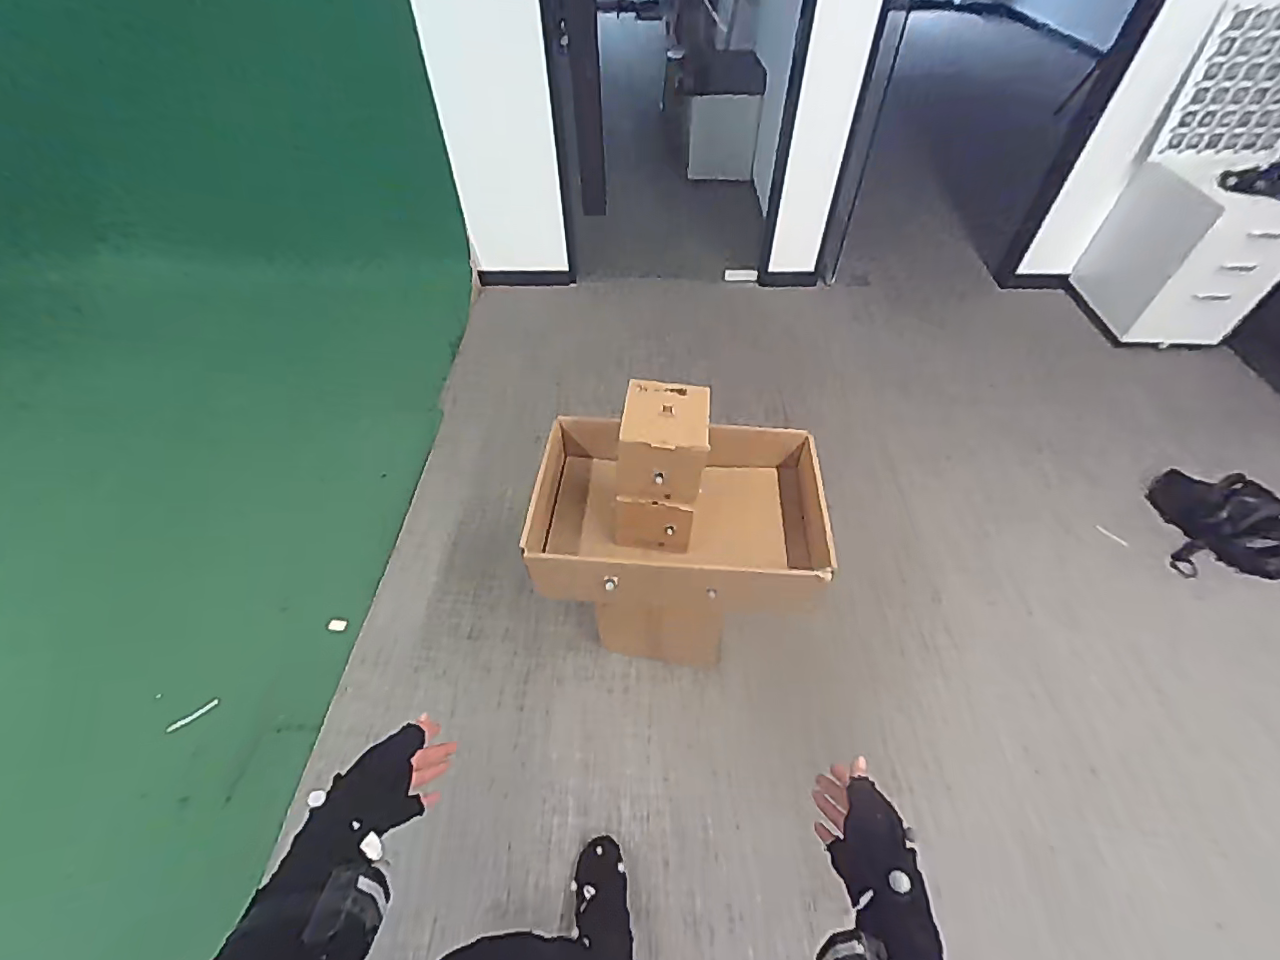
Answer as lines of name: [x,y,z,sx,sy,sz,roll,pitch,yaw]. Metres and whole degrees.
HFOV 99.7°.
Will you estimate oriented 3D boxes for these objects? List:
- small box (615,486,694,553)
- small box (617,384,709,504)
small box: [0.037,0.045,1.218,0.168,0.176,0.179,7,47,2]
small box: [0.046,-0.070,1.100,0.168,0.176,0.179,7,50,2]
